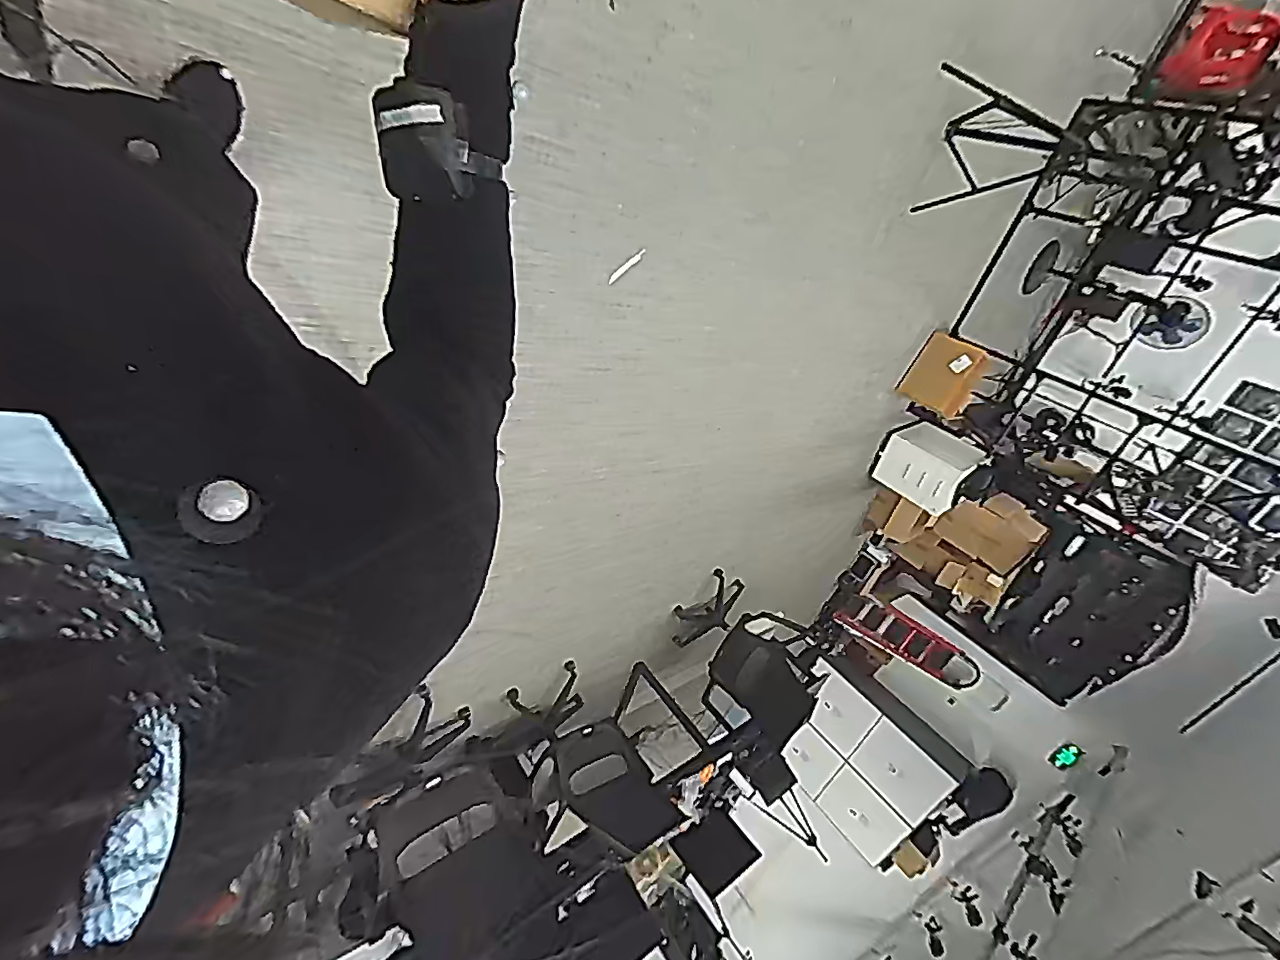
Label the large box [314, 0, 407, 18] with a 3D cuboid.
[{"bbox_3d":[-0.332,-0.521,0.269,0.408,0.320,0.320,2,123,-40],"label":"large box"}]
